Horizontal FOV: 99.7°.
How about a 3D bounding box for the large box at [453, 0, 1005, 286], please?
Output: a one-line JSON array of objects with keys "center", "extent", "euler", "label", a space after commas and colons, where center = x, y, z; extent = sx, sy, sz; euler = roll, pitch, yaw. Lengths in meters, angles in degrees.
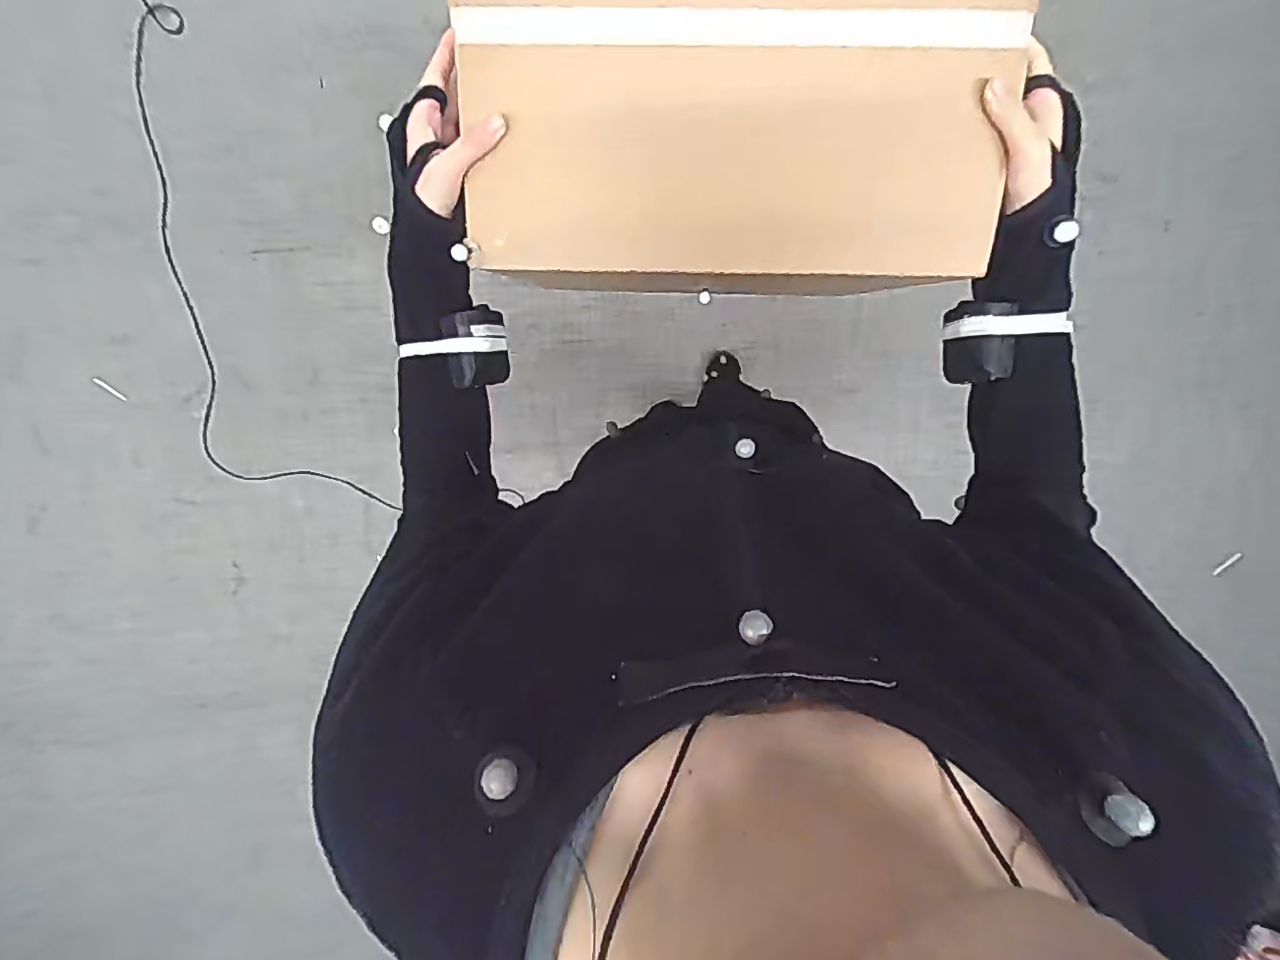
[{"center": [0.066, -0.361, 0.540], "extent": [0.408, 0.320, 0.320], "euler": [1, 106, 1], "label": "large box"}]
